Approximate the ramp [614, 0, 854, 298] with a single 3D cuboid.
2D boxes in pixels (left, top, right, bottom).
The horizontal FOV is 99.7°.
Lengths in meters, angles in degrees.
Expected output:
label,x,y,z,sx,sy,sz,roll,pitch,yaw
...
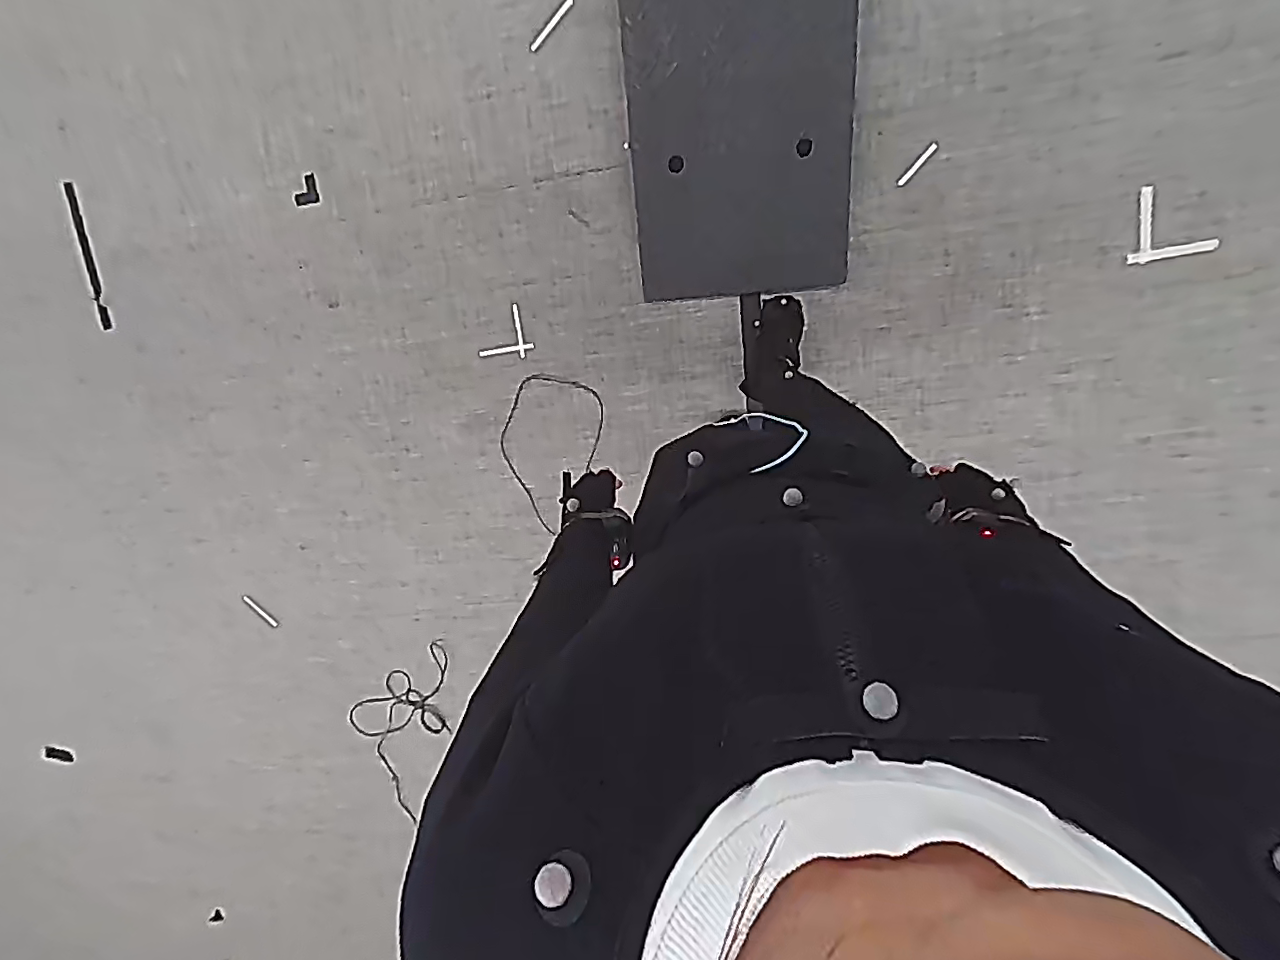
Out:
label,x,y,z,sx,sy,sz,roll,pitch,yaw
ramp,0.196,-0.927,1.140,0.509,0.206,0.991,-5,103,8
